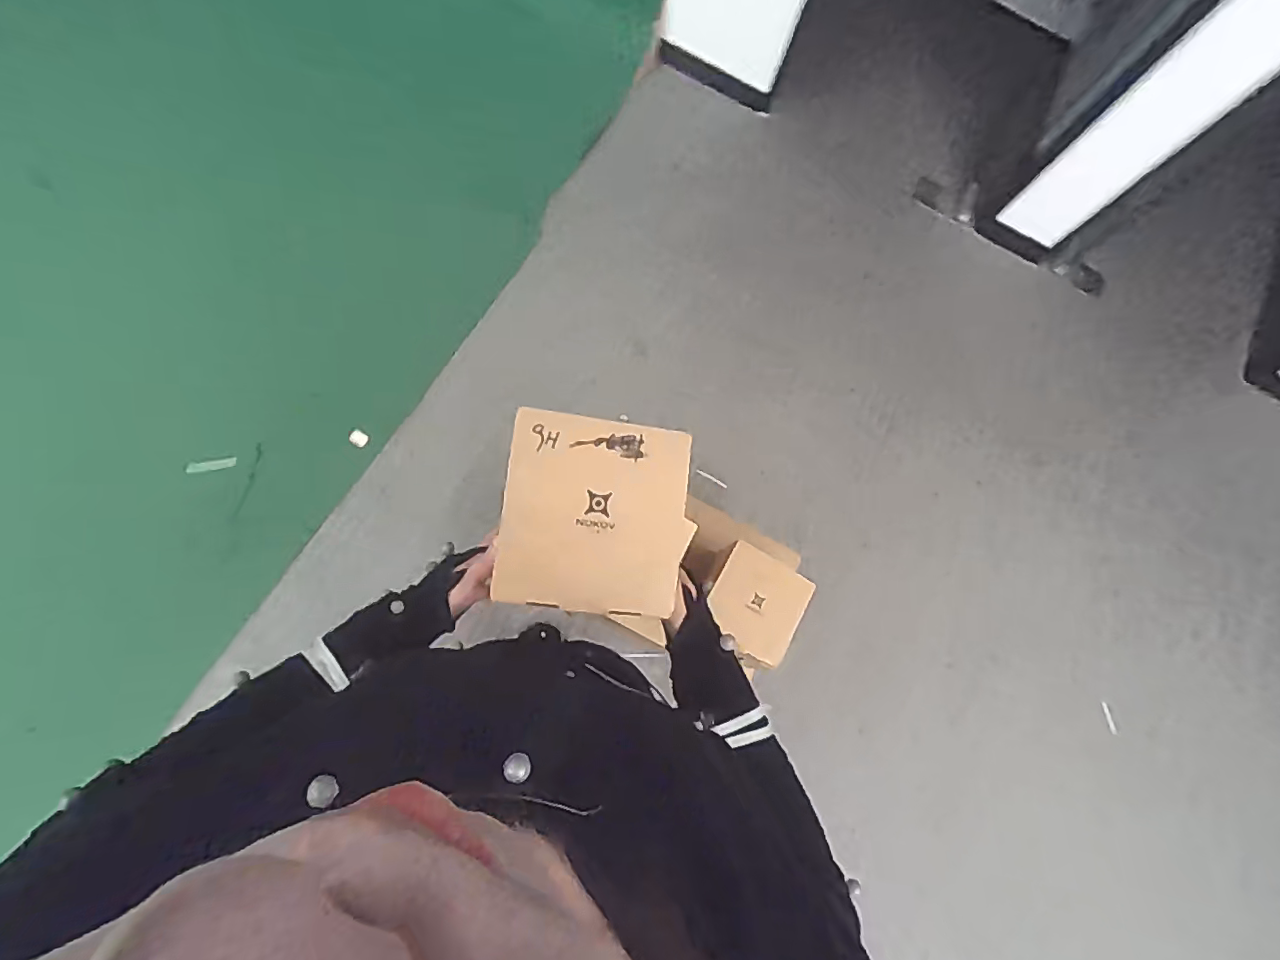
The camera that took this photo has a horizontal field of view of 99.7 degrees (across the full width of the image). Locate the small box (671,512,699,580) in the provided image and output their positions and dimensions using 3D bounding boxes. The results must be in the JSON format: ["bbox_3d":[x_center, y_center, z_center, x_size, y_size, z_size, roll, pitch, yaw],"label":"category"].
[{"bbox_3d":[-0.015,0.129,1.030,0.168,0.176,0.179,29,75,-1],"label":"small box"}]

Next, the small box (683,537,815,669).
[{"bbox_3d":[0.197,0.237,1.030,0.168,0.176,0.179,33,72,2],"label":"small box"}]

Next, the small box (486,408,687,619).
[{"bbox_3d":[-0.059,0.036,0.565,0.168,0.176,0.179,7,85,-11],"label":"small box"}]
